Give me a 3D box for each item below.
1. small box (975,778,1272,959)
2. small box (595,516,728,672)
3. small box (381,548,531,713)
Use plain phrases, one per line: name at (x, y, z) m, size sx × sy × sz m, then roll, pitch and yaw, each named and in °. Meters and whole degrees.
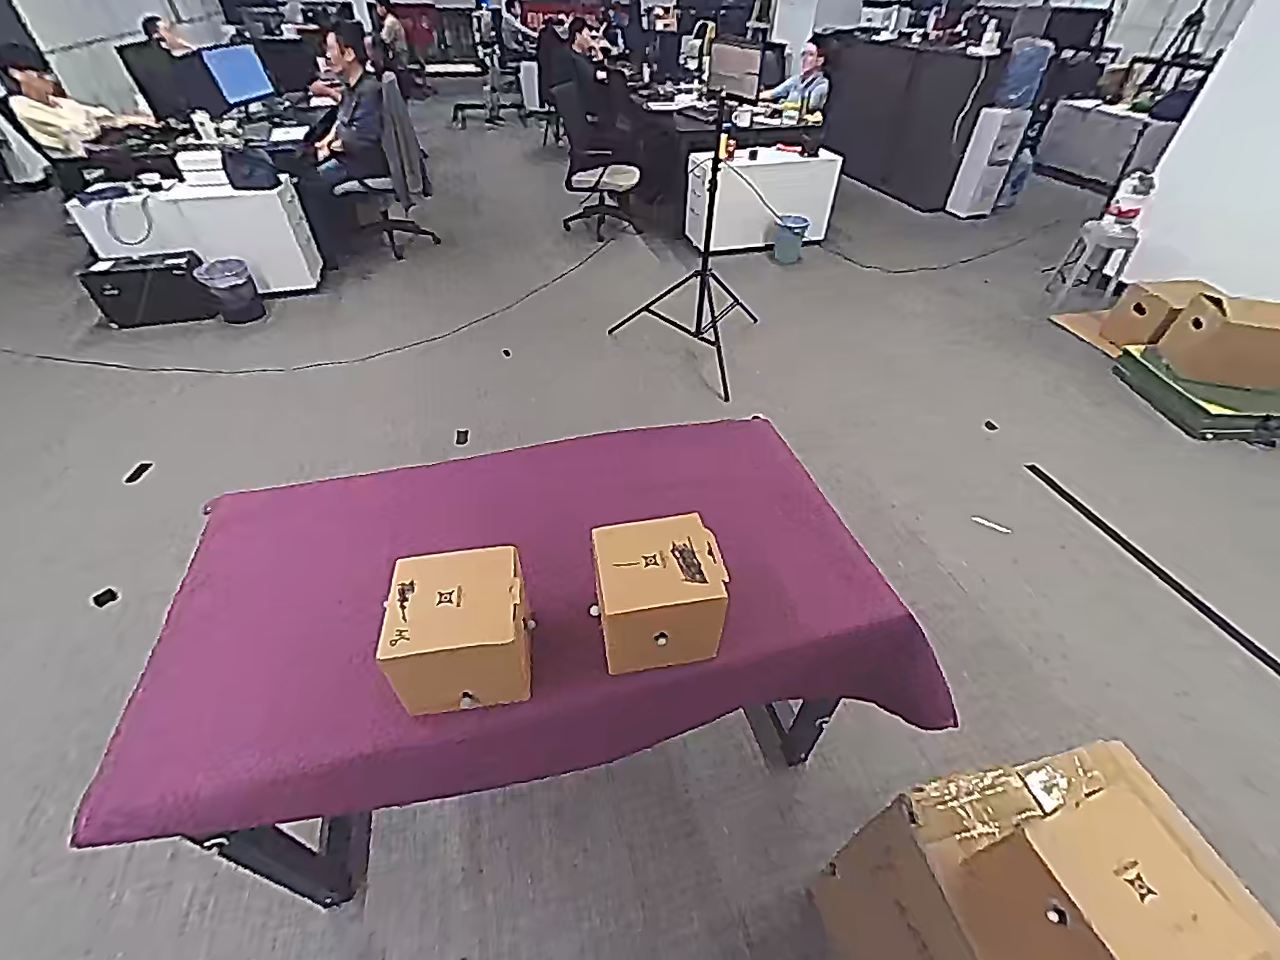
small box at (0.563, 0.509, 0.664) m, size 0.168 × 0.176 × 0.179 m, roll -15°, pitch 46°, yaw -13°
small box at (0.026, 0.181, 0.859) m, size 0.179 × 0.176 × 0.168 m, roll -7°, pitch 42°, yaw -7°
small box at (-0.258, 0.225, 0.808) m, size 0.179 × 0.176 × 0.168 m, roll -5°, pitch 42°, yaw -7°
